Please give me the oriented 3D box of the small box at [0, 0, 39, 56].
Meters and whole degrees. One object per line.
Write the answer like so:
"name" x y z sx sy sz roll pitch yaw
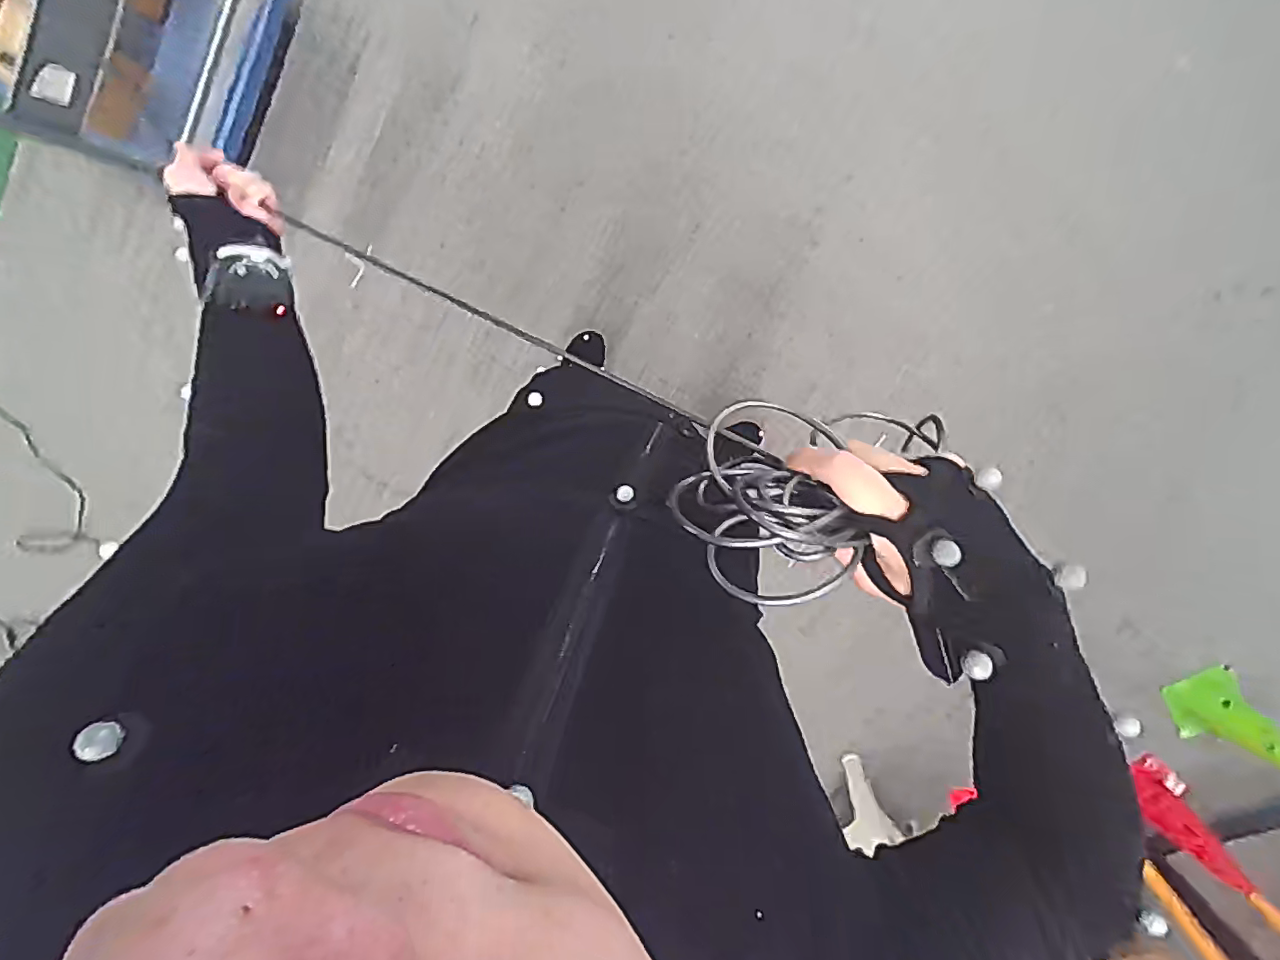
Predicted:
"small box" -1.499 -1.083 1.185 0.179 0.176 0.168 27 103 -3
